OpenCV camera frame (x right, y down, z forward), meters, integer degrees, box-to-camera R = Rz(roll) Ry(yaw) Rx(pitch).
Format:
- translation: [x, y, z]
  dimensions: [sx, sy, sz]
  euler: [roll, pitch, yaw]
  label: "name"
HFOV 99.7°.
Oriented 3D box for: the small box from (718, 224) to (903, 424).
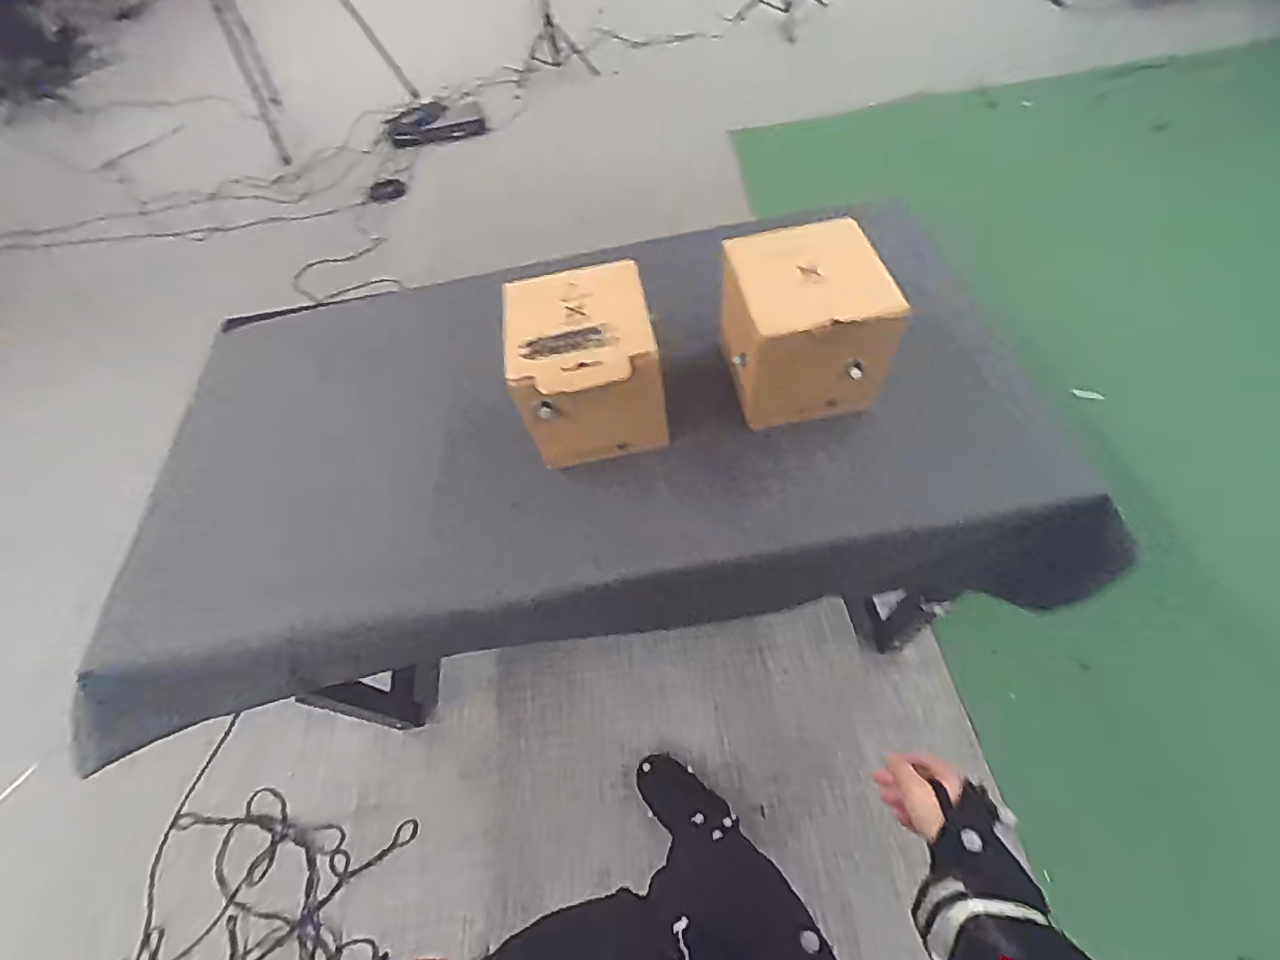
- translation: [0.198, -0.188, 0.688]
  dimensions: [0.168, 0.176, 0.179]
  euler: [-11, 56, -1]
  label: "small box"
